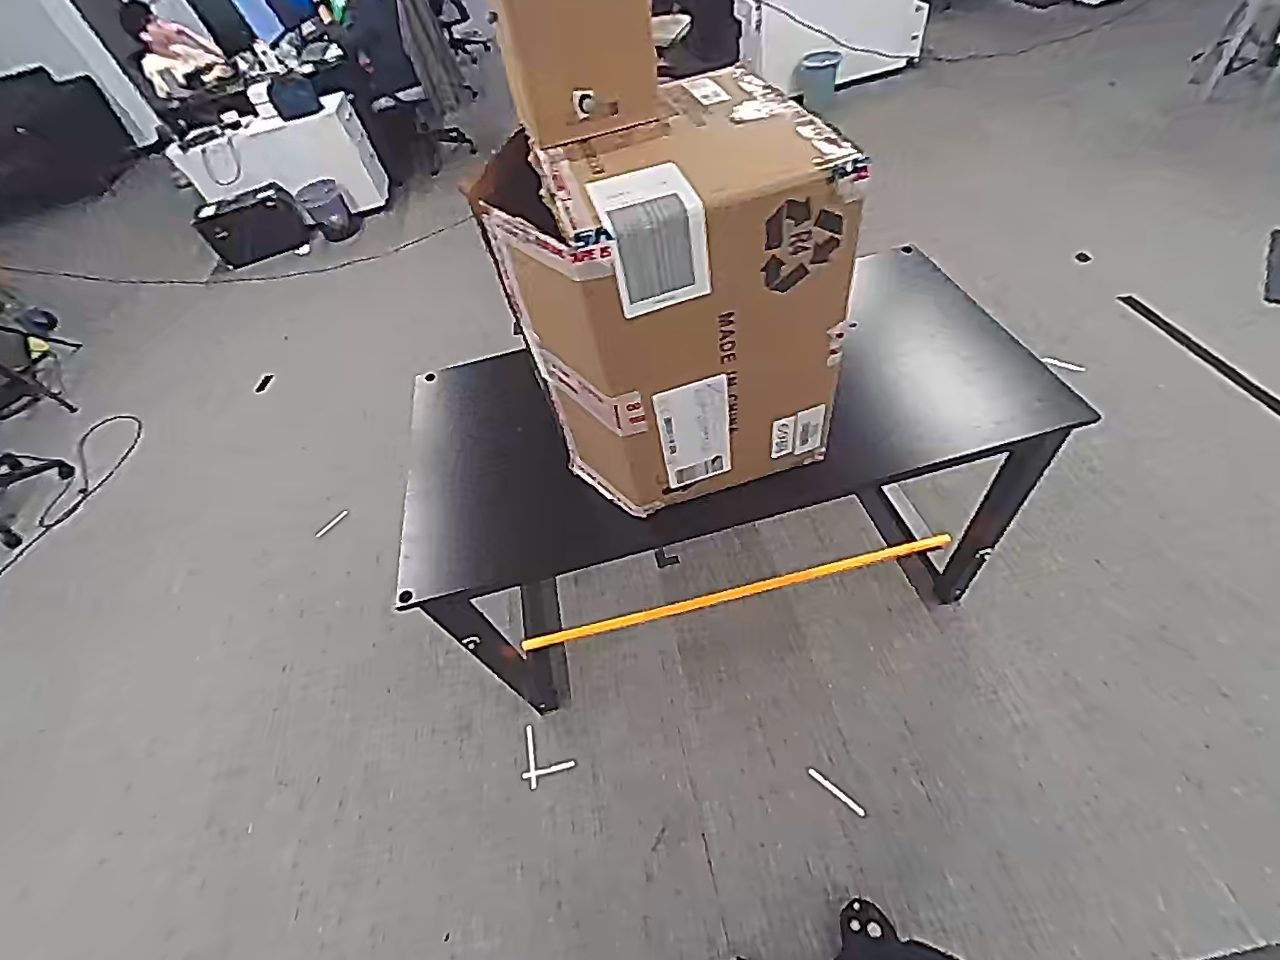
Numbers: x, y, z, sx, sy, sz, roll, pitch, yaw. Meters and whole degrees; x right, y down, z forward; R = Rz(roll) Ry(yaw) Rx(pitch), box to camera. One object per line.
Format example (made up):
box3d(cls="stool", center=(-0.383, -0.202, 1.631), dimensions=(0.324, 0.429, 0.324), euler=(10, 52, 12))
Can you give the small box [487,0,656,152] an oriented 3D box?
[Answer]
box3d(cls="small box", center=(-0.089, -0.545, 0.687), dimensions=(0.168, 0.176, 0.179), euler=(-20, 49, -5))
